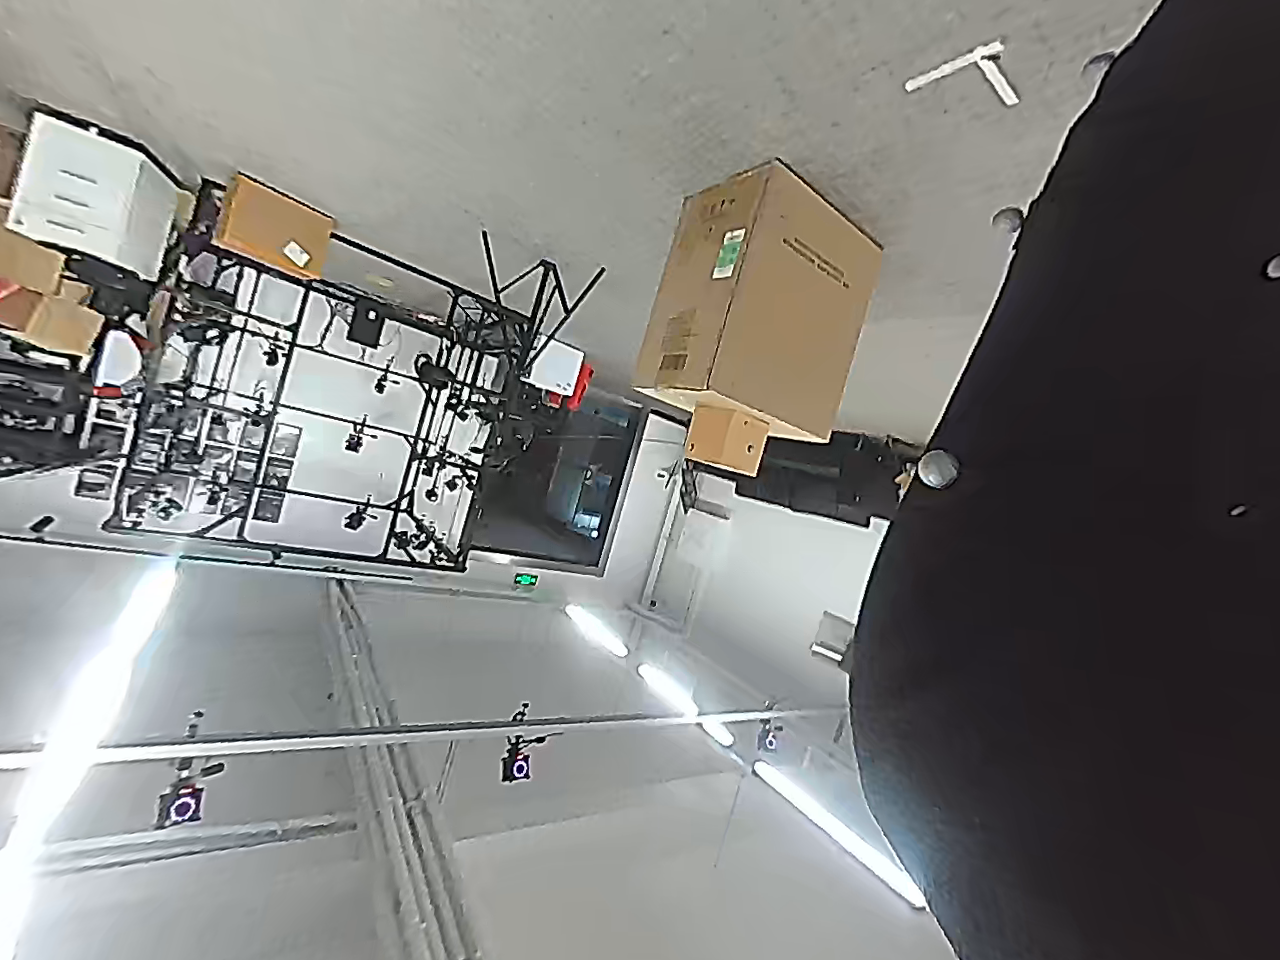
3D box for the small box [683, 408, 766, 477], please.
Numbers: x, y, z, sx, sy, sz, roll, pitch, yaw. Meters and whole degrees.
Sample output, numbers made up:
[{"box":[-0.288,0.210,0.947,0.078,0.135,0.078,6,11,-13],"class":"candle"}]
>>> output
[{"box":[0.262,-0.117,1.647,0.168,0.176,0.179,15,-178,-36],"class":"small box"}]
